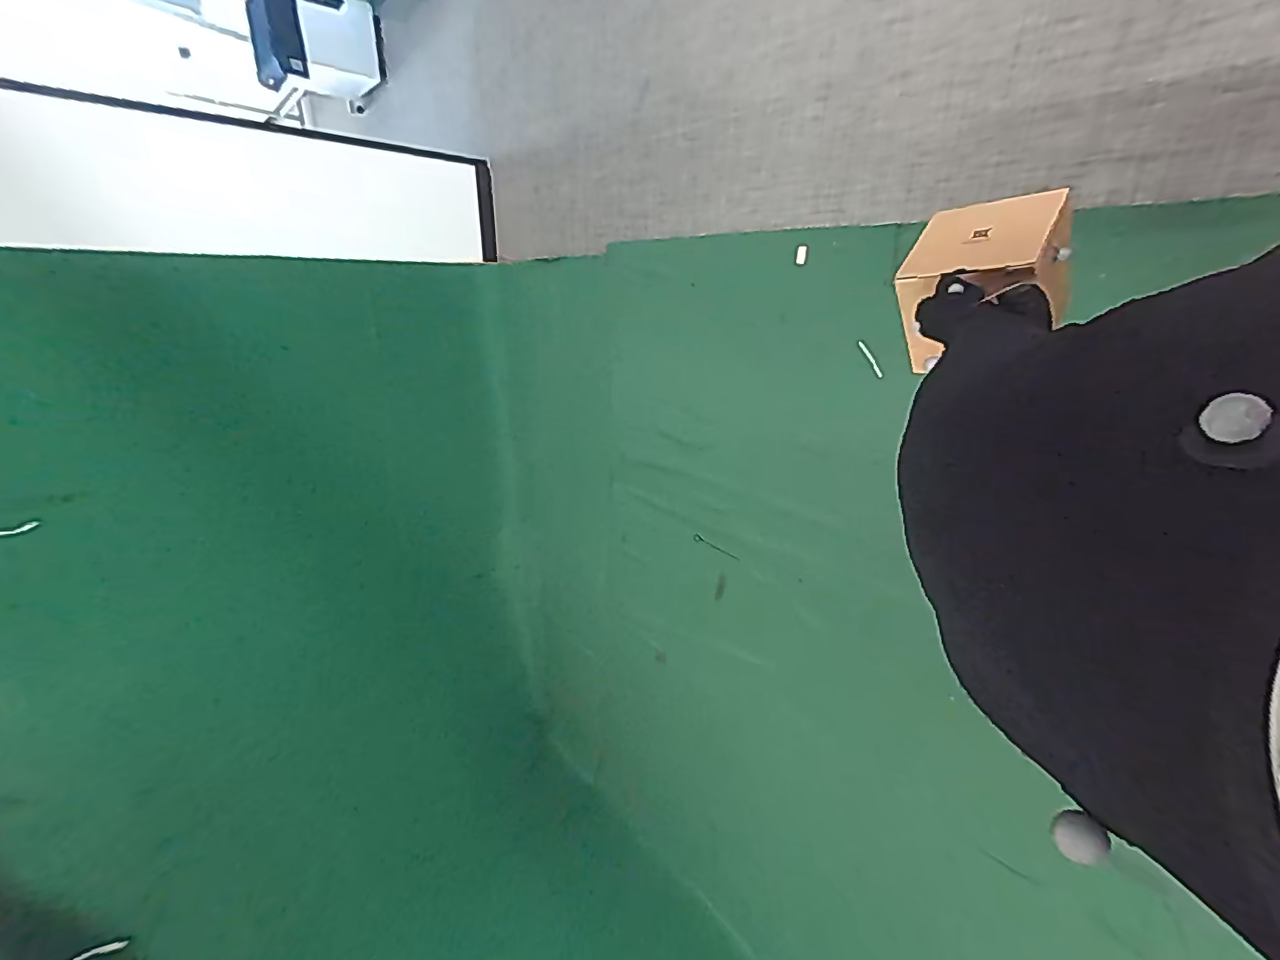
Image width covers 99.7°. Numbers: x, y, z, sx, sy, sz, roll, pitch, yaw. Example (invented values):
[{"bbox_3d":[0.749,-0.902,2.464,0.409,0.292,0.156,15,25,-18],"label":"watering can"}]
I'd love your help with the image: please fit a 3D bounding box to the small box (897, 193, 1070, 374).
[{"bbox_3d":[0.500,-0.275,0.784,0.168,0.179,0.176,11,146,45],"label":"small box"}]
